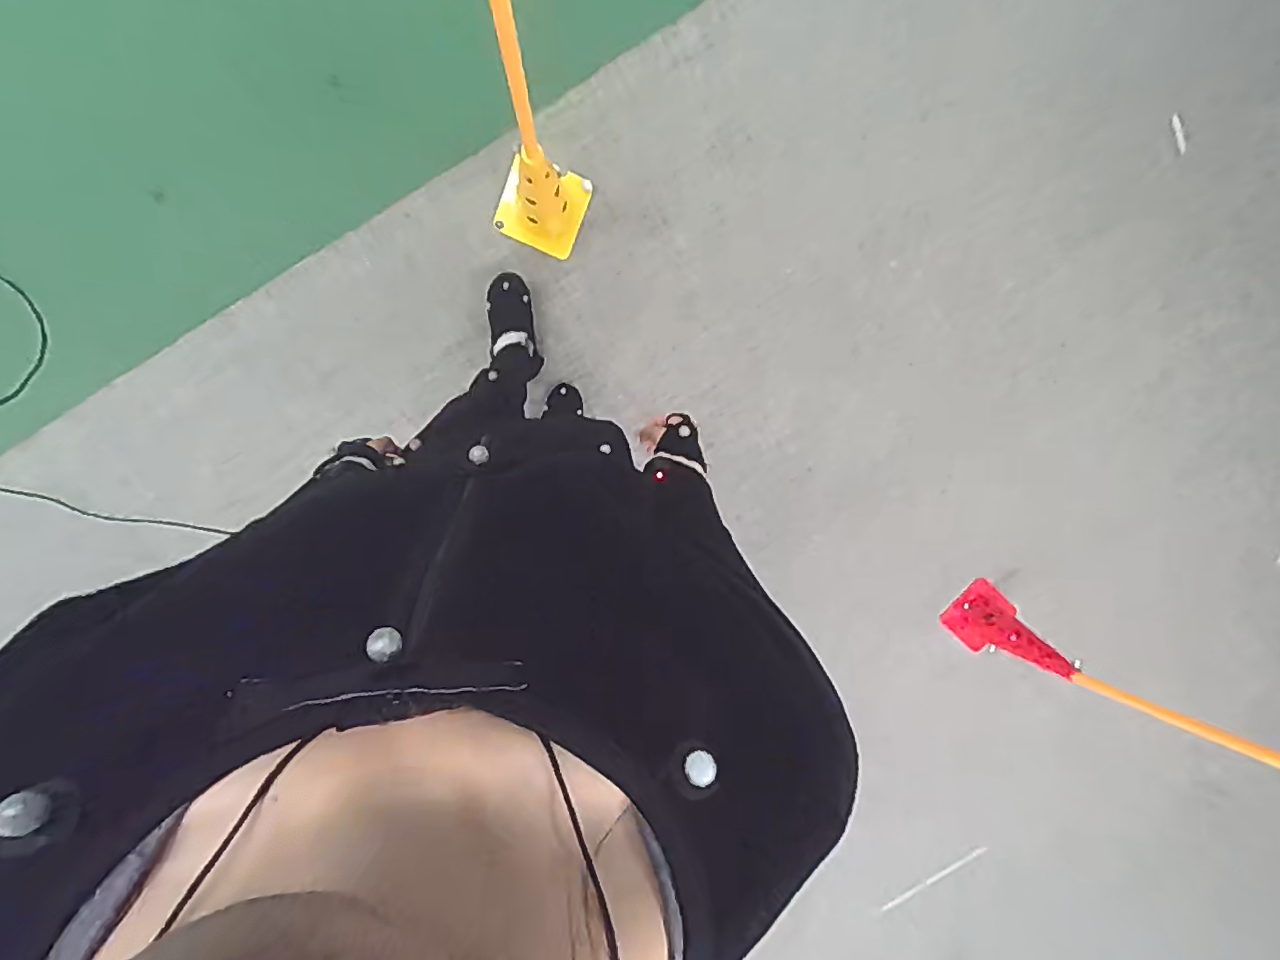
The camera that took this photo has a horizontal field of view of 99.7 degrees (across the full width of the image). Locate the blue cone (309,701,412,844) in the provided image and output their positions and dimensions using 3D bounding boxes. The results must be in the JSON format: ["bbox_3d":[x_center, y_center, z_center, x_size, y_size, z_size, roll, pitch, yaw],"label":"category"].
[{"bbox_3d":[-0.756,0.779,1.424,0.192,0.380,0.193,13,103,-9],"label":"blue cone"}]
